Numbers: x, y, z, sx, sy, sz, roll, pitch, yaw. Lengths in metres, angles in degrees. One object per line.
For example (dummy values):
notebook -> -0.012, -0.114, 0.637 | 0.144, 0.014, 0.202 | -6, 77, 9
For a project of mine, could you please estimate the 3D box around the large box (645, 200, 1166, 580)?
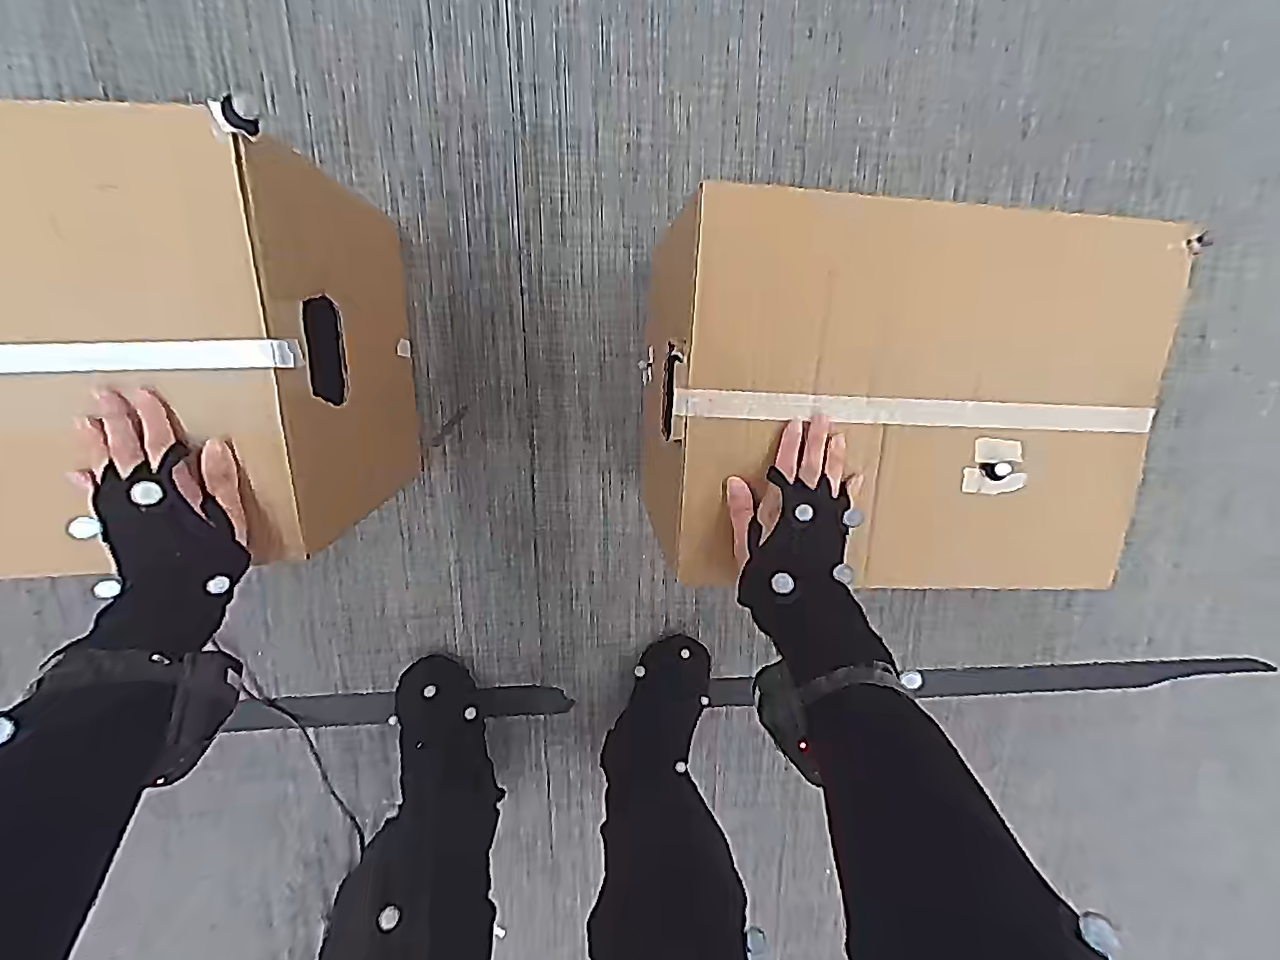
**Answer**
large box -> 0.223, -0.093, 0.606 | 0.408, 0.320, 0.320 | 1, 104, -7
